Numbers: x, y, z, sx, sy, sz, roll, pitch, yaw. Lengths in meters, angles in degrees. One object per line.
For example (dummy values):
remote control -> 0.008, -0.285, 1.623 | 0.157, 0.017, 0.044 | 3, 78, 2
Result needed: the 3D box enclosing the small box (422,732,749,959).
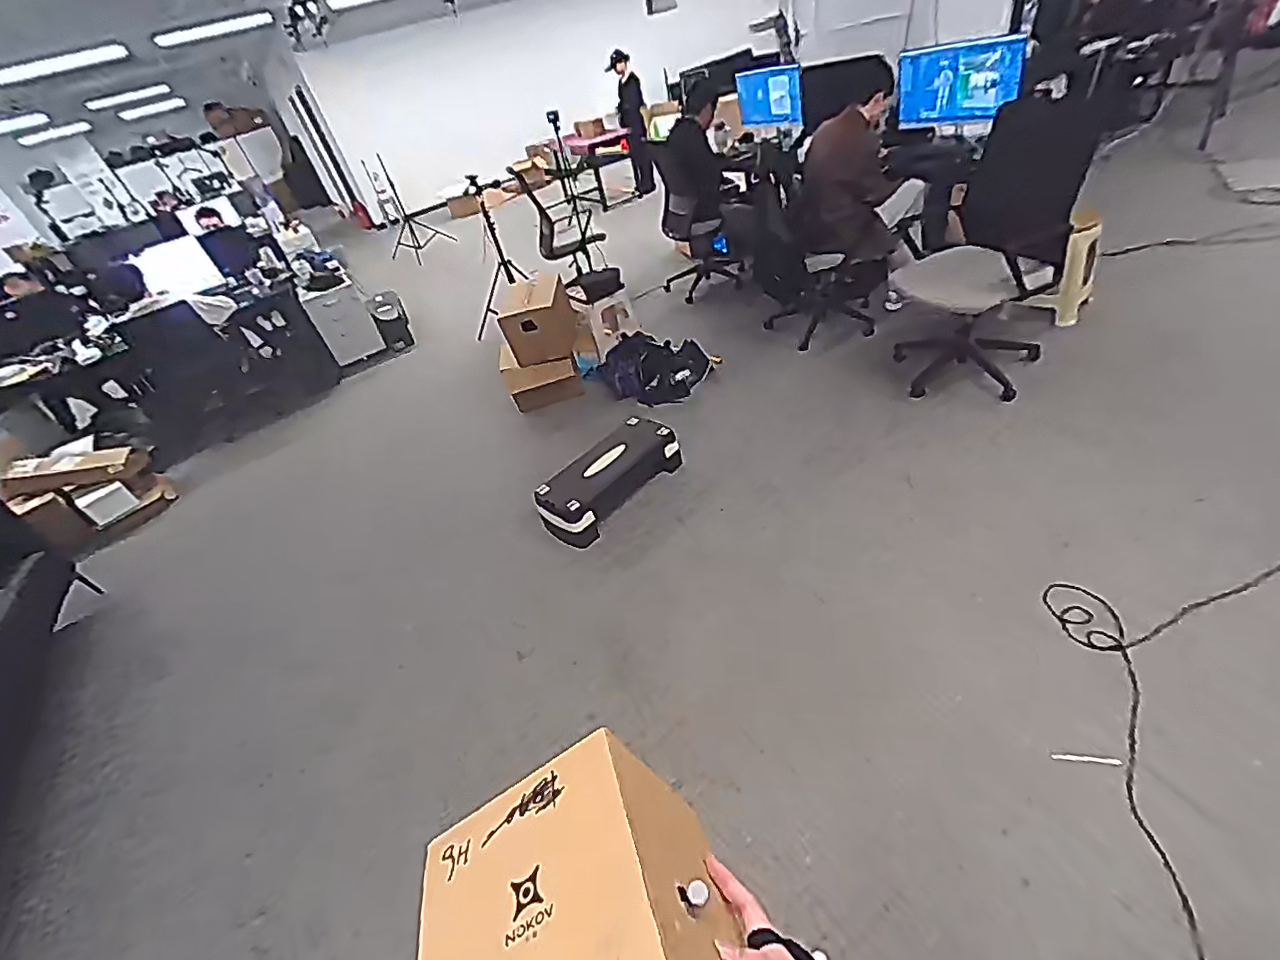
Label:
small box -> -0.033, 0.331, 0.387 | 0.168, 0.176, 0.179 | -34, 32, -1
